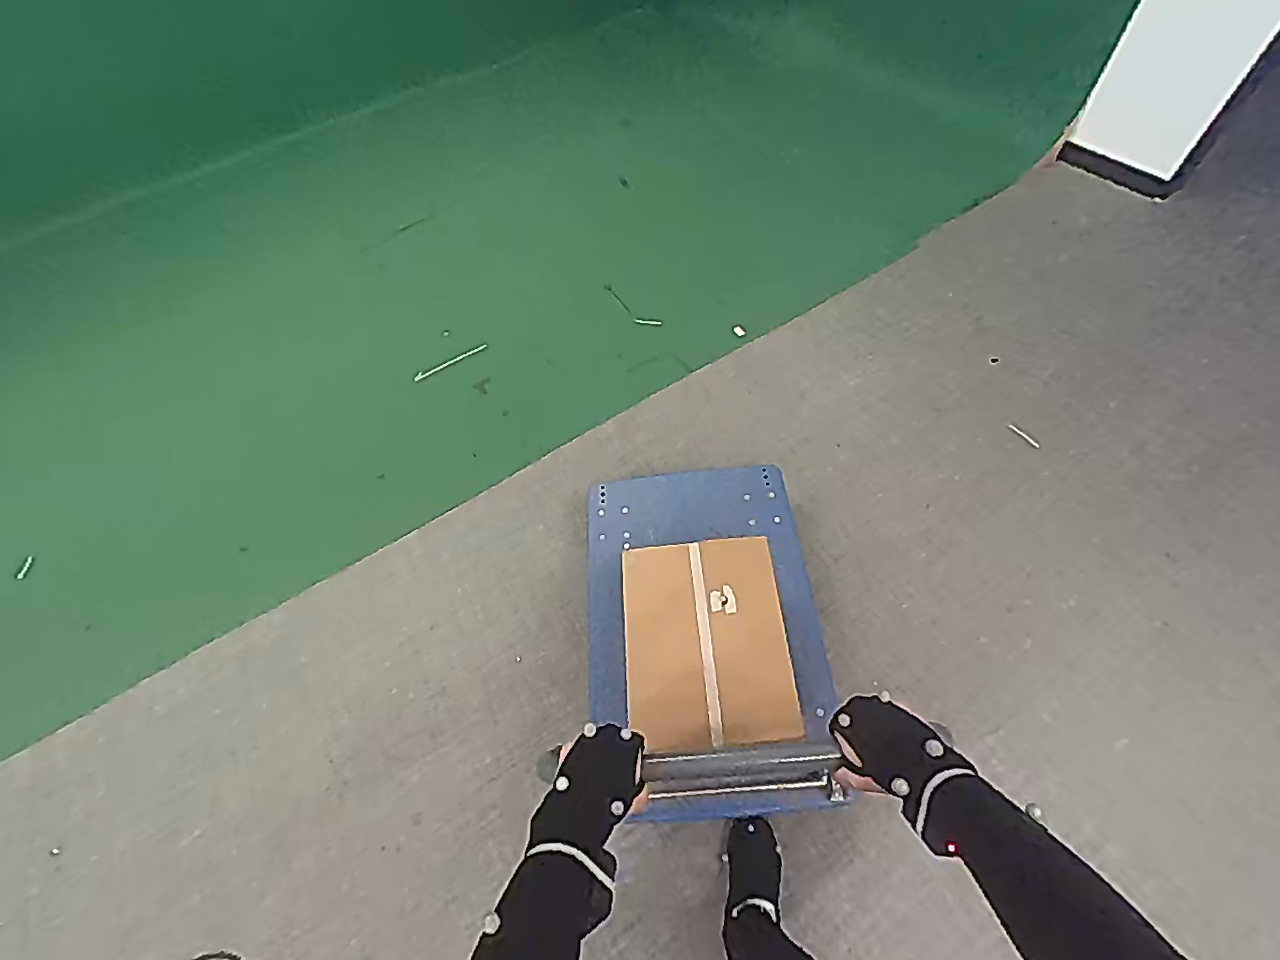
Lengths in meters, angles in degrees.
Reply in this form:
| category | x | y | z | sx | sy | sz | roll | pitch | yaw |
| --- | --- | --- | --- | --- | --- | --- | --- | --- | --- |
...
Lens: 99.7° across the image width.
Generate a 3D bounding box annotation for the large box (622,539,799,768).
| category | x | y | z | sx | sy | sz | roll | pitch | yaw |
| --- | --- | --- | --- | --- | --- | --- | --- | --- | --- |
| large box | 0.141 | 0.392 | 1.204 | 0.320 | 0.320 | 0.408 | -6 | 57 | 3 |
